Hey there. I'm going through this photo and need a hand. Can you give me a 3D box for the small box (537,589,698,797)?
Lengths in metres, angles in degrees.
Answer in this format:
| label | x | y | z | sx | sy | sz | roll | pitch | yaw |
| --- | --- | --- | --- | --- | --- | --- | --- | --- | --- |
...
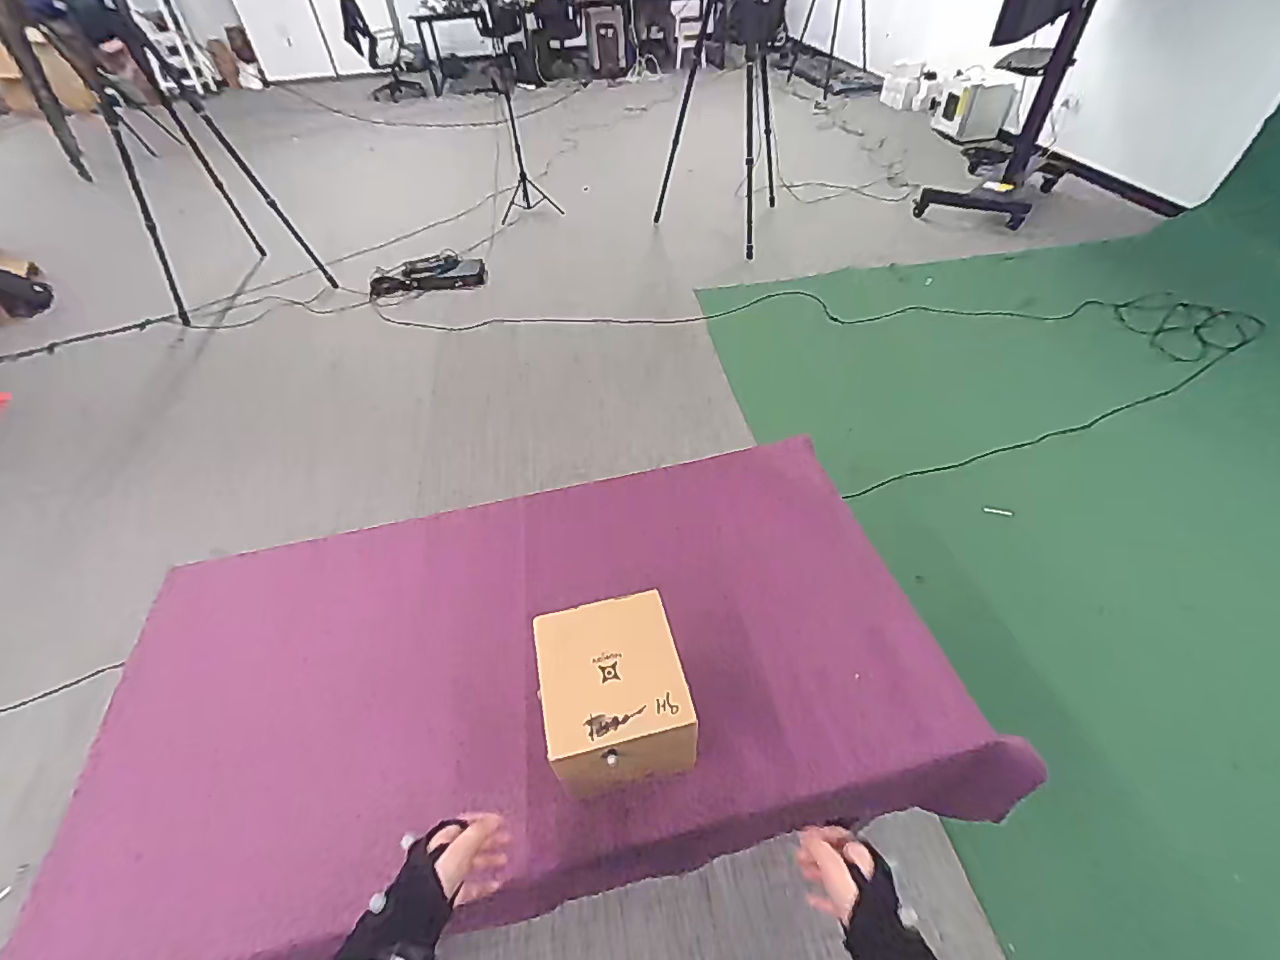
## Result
| label | x | y | z | sx | sy | sz | roll | pitch | yaw |
| --- | --- | --- | --- | --- | --- | --- | --- | --- | --- |
| small box | -0.030 | 0.273 | 0.694 | 0.168 | 0.176 | 0.179 | -12 | 46 | -6 |
